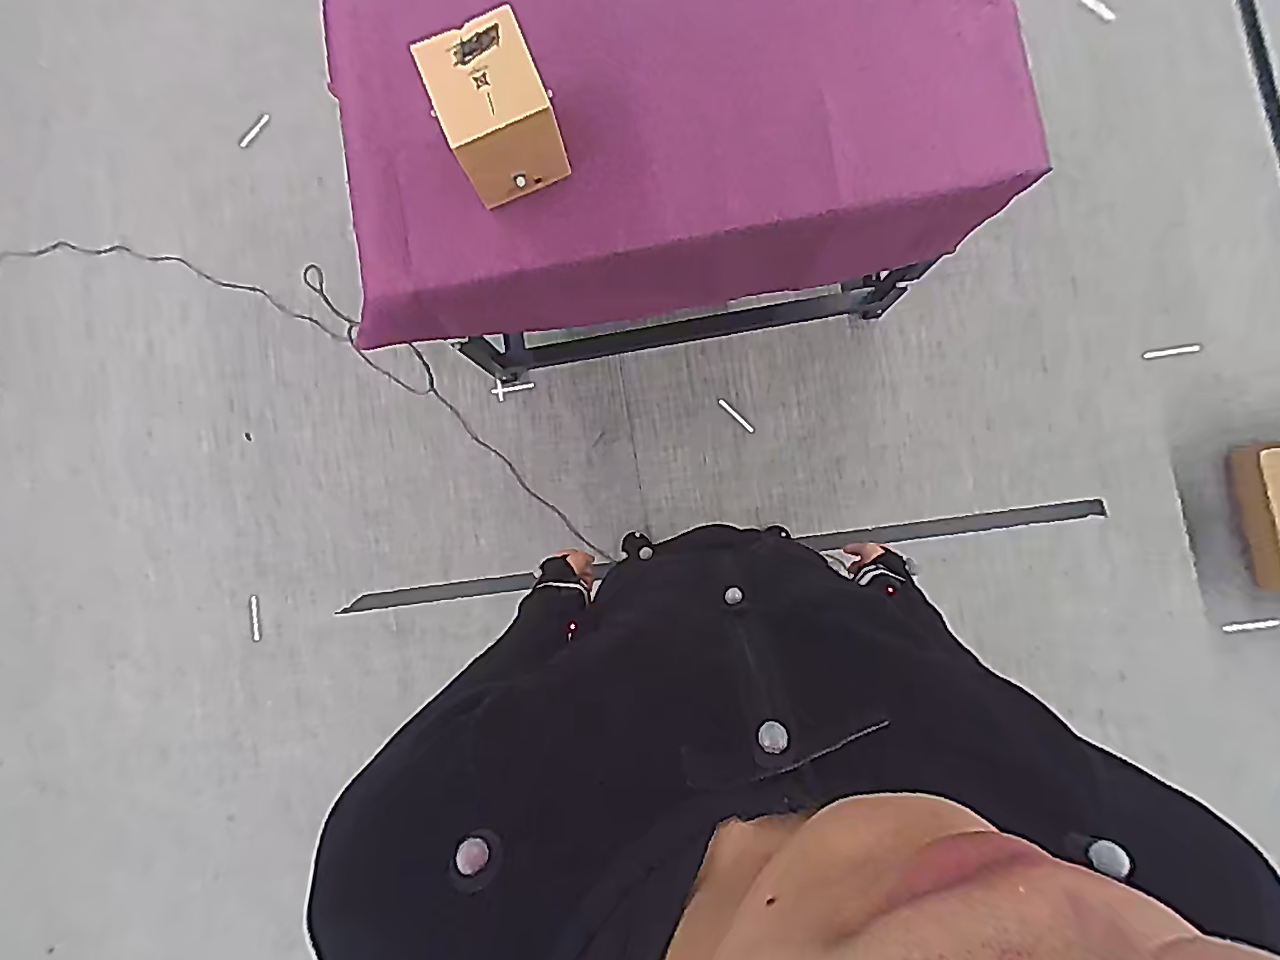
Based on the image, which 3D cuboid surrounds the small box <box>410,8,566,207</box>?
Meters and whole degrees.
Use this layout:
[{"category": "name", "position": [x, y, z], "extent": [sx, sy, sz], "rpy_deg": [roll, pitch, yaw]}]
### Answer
[{"category": "small box", "position": [-0.236, -0.592, 0.882], "extent": [0.168, 0.176, 0.179], "rpy_deg": [-22, 86, 2]}]
